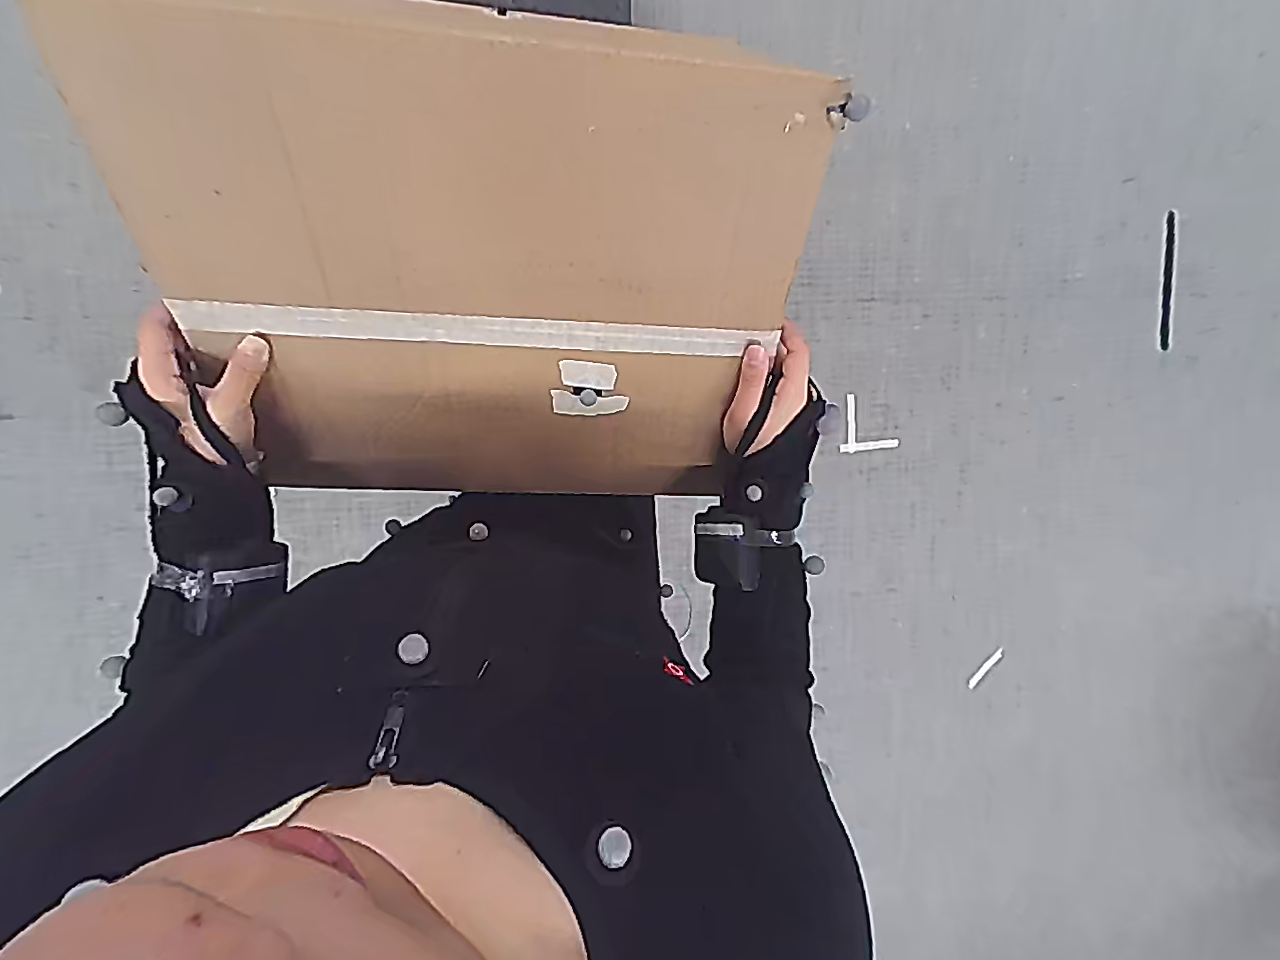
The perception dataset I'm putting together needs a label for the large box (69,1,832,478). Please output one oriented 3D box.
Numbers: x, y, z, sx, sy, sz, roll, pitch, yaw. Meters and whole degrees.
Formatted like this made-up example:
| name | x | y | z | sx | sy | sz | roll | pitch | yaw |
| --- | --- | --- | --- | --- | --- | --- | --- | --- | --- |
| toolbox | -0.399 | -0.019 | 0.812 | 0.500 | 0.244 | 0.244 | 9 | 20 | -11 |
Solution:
| name | x | y | z | sx | sy | sz | roll | pitch | yaw |
| --- | --- | --- | --- | --- | --- | --- | --- | --- | --- |
| large box | -0.112 | -0.217 | 0.494 | 0.408 | 0.320 | 0.320 | 0 | 133 | -7 |
